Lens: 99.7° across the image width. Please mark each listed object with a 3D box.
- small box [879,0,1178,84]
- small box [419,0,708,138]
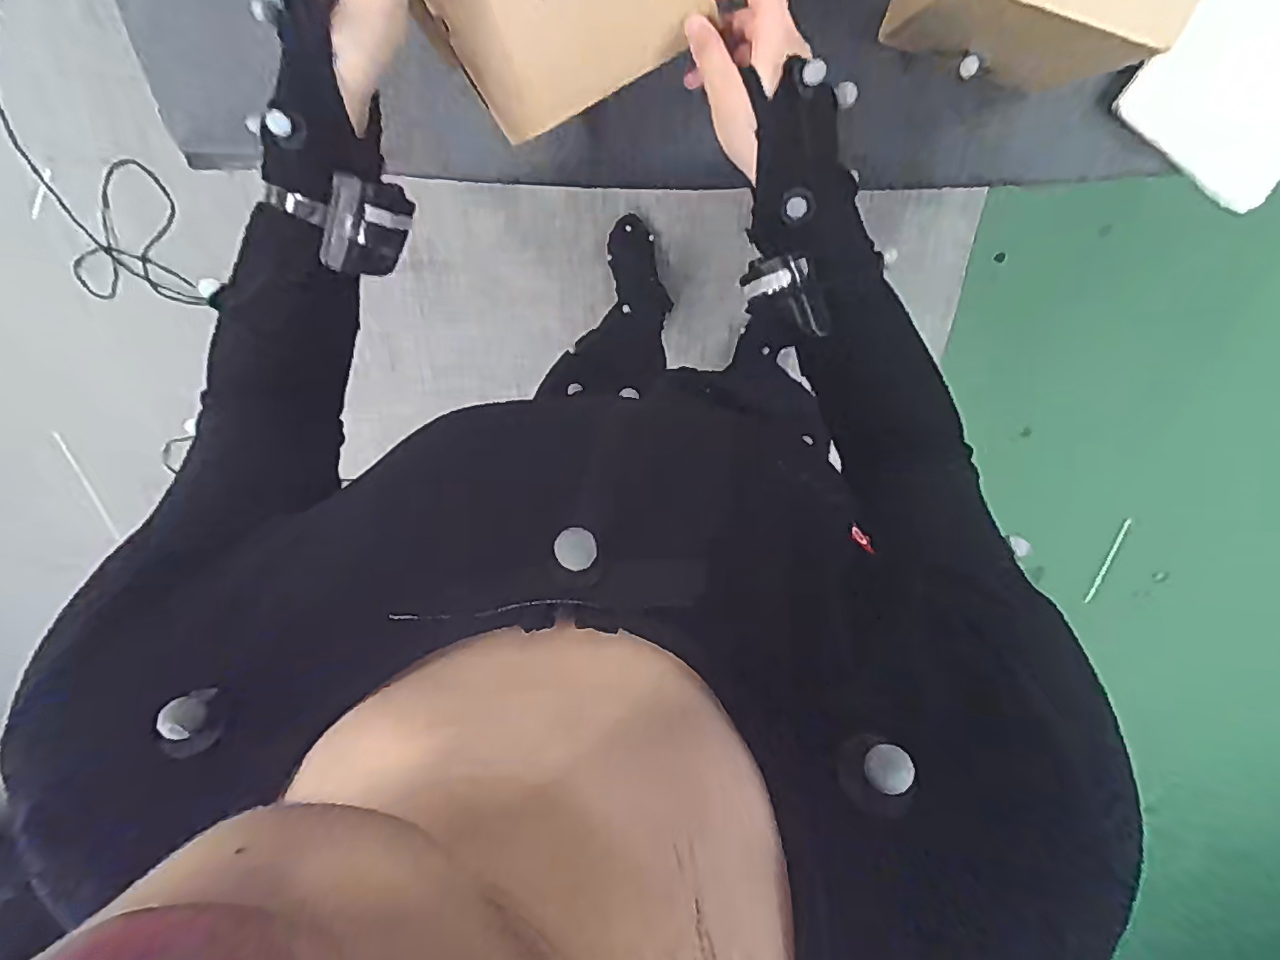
[{"bbox_3d":[0.314,-0.440,0.414,0.168,0.176,0.179,15,118,-4],"label":"small box"},{"bbox_3d":[-0.064,-0.397,0.386,0.179,0.176,0.168,-17,140,21],"label":"small box"}]
